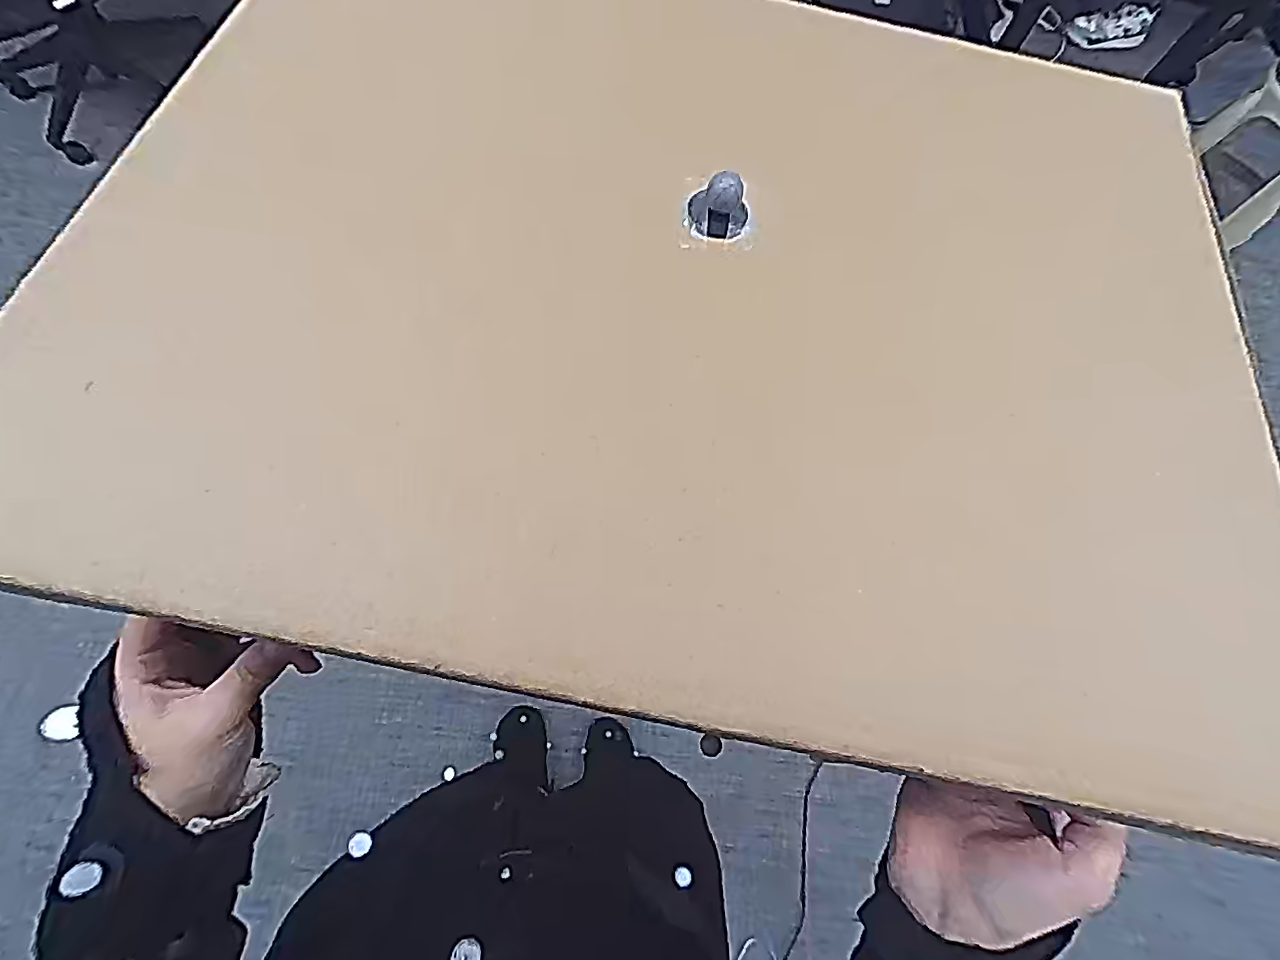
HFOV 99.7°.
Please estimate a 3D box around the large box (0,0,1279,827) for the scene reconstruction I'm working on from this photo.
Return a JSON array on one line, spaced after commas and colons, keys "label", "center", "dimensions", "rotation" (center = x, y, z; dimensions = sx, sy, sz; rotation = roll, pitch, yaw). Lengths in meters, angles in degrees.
[{"label": "large box", "center": [-0.002, -0.035, 0.329], "dimensions": [0.408, 0.320, 0.320], "rotation": [11, 70, 0]}]
